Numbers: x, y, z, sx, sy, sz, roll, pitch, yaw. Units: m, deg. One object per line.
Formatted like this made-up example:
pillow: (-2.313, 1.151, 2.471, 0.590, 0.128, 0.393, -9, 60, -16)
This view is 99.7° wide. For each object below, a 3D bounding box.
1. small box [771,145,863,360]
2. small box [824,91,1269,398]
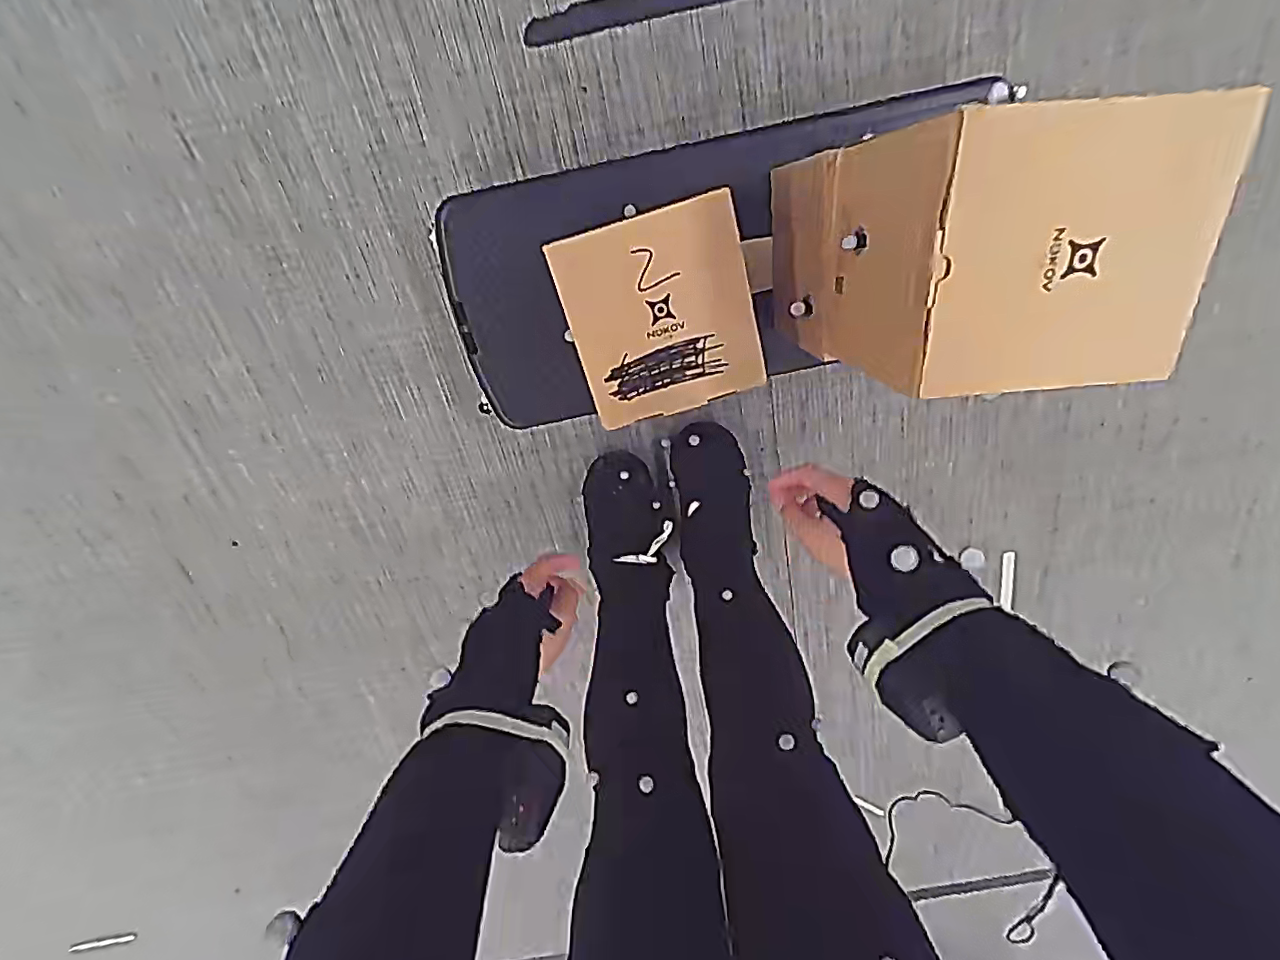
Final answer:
small box: (0.235, -0.234, 0.546, 0.168, 0.176, 0.179, -8, 115, 0)
small box: (0.256, -0.169, 0.398, 0.179, 0.176, 0.168, -5, 115, -1)
